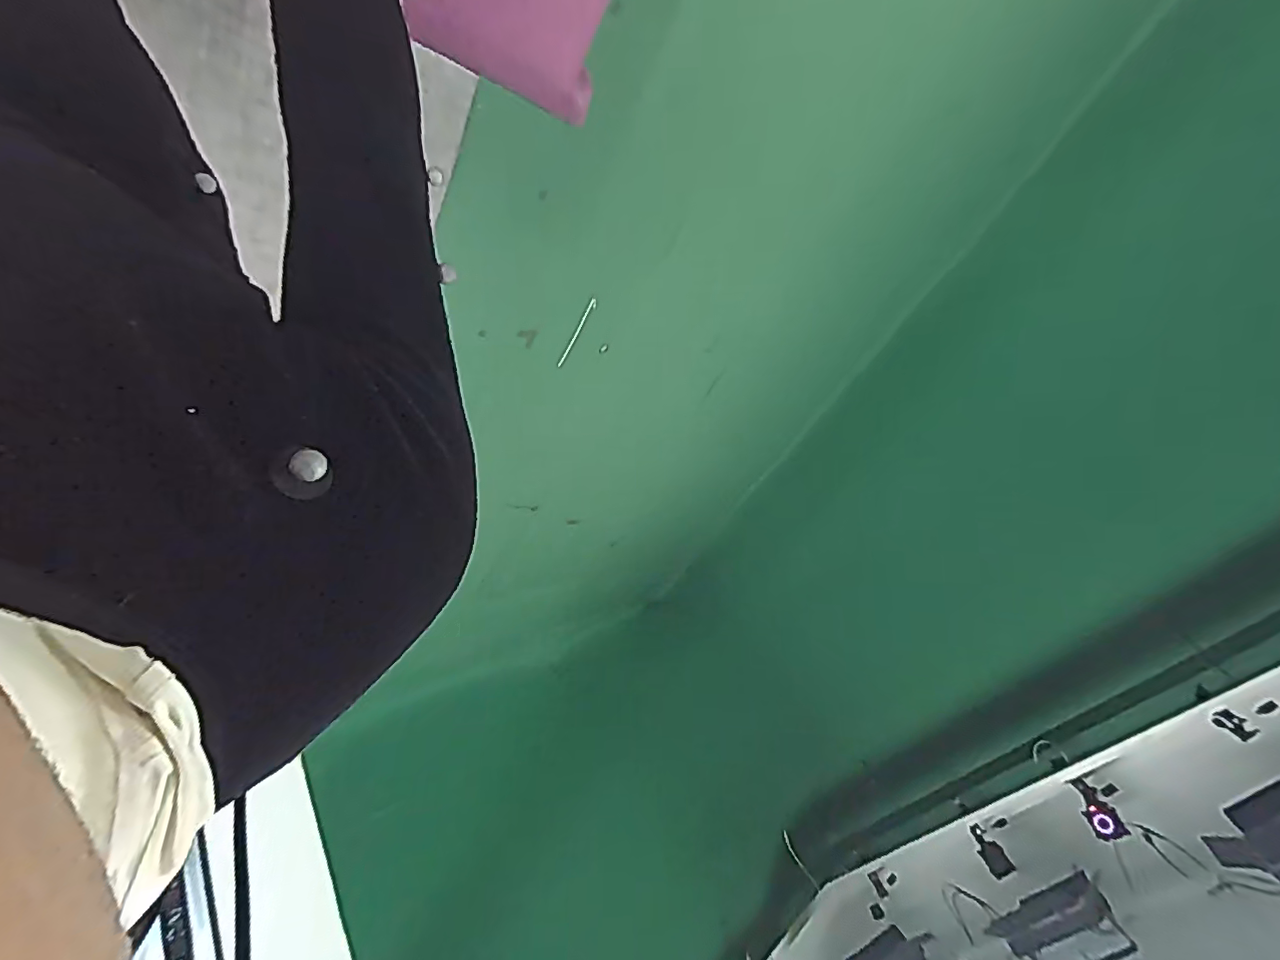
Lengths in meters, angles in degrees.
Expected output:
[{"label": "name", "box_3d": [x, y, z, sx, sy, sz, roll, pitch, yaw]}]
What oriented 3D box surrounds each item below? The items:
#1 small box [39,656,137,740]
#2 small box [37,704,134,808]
[{"label": "small box", "box_3d": [-1.585, 0.627, 1.550, 0.179, 0.176, 0.168, 6, 131, -52]}, {"label": "small box", "box_3d": [-1.502, 0.741, 1.466, 0.168, 0.176, 0.179, 5, 131, -51]}]
